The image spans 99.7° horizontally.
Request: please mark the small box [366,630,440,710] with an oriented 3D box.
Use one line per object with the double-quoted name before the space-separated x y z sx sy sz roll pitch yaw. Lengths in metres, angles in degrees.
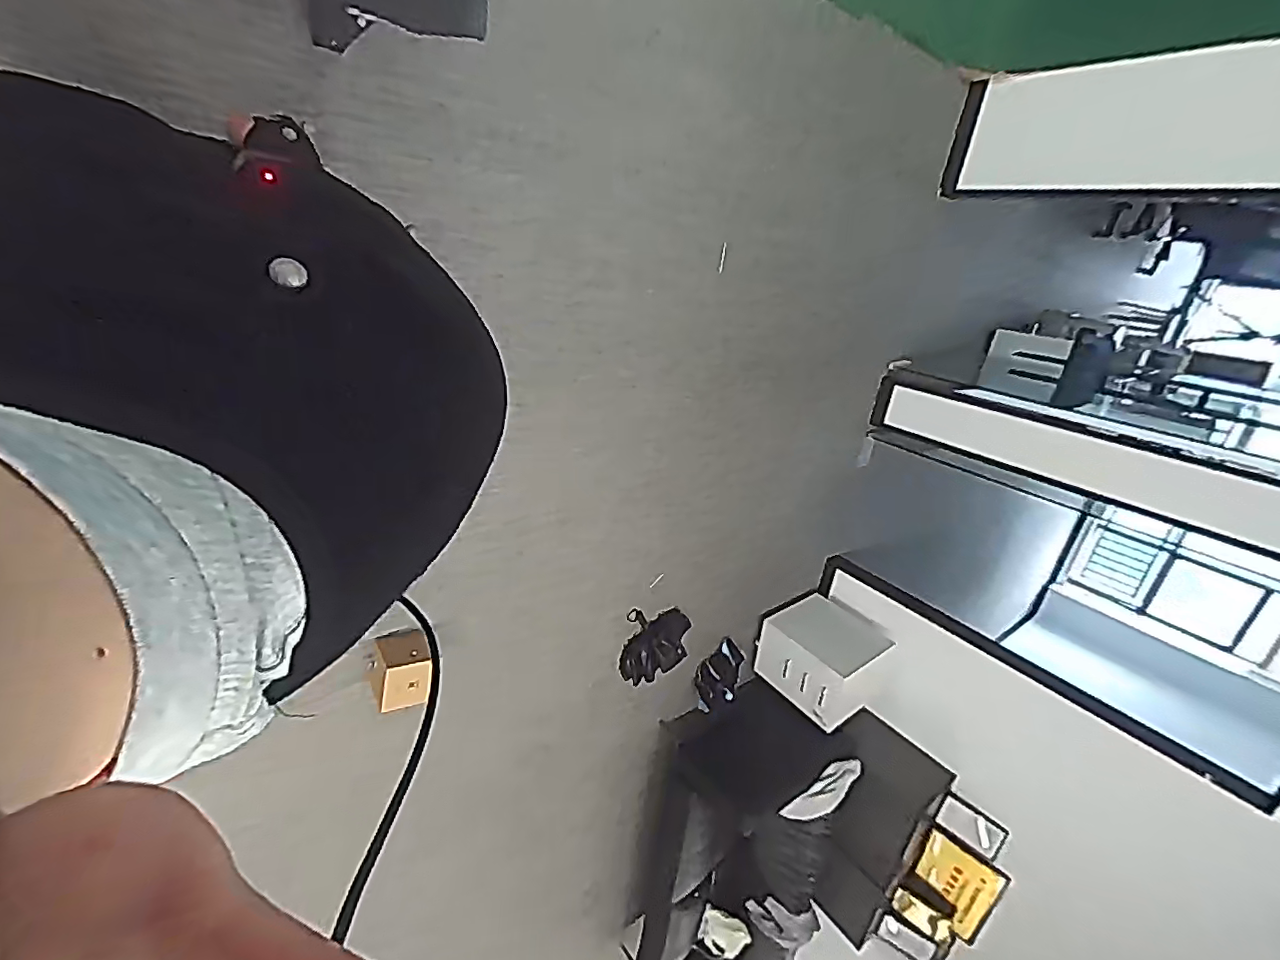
"small box" -0.779 0.612 1.770 0.179 0.176 0.168 1 111 -40
